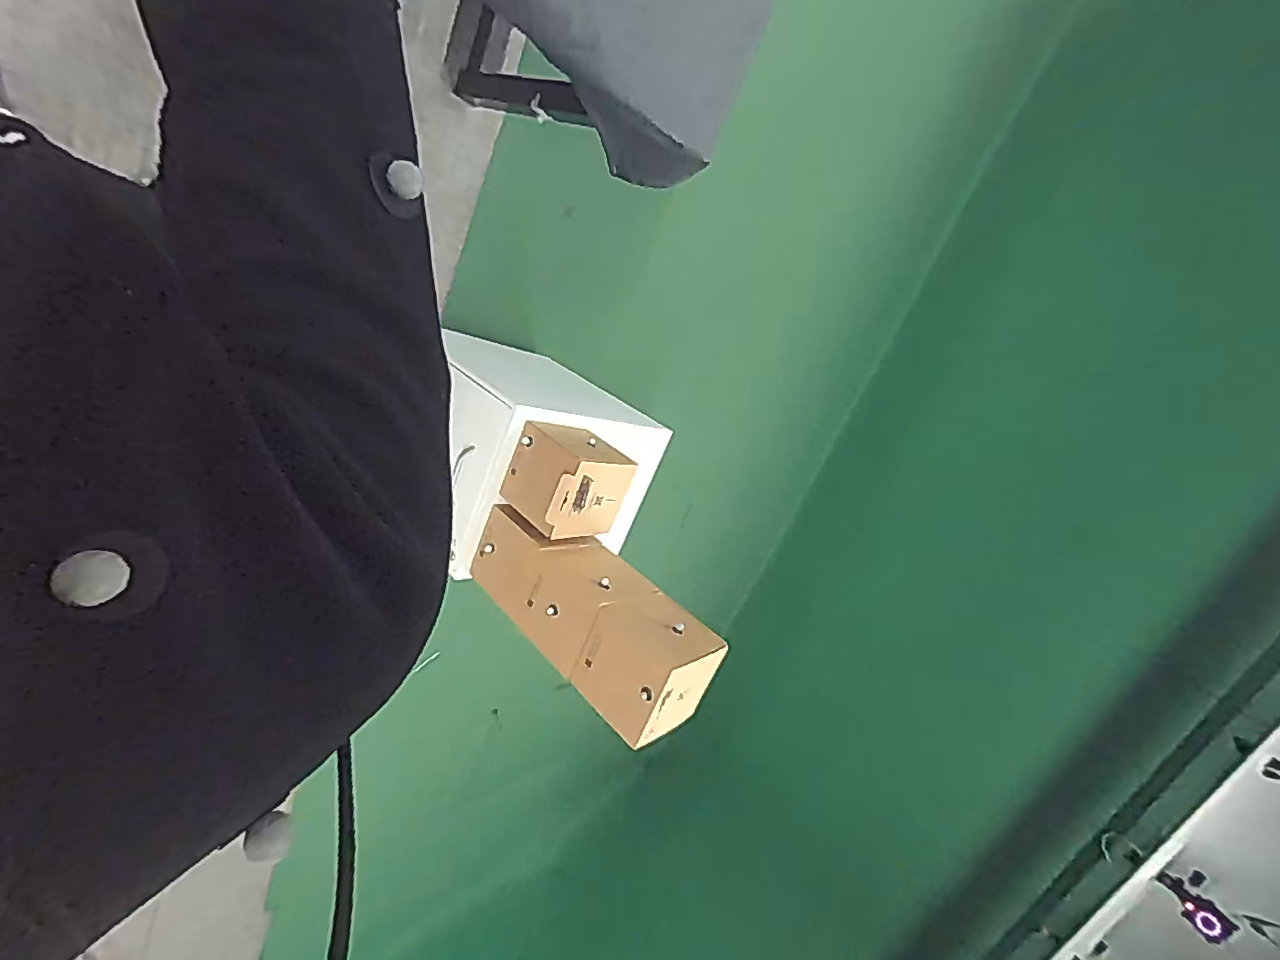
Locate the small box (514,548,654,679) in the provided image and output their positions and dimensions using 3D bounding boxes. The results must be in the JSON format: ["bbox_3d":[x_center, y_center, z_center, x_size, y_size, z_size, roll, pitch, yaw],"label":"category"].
[{"bbox_3d":[-0.111,0.245,1.036,0.179,0.176,0.168,4,115,-54],"label":"small box"}]

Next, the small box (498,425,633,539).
[{"bbox_3d":[-0.152,0.001,1.076,0.179,0.176,0.168,2,117,-54],"label":"small box"}]

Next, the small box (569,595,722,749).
[{"bbox_3d":[0.008,0.323,0.954,0.179,0.176,0.168,0,117,-53],"label":"small box"}]
